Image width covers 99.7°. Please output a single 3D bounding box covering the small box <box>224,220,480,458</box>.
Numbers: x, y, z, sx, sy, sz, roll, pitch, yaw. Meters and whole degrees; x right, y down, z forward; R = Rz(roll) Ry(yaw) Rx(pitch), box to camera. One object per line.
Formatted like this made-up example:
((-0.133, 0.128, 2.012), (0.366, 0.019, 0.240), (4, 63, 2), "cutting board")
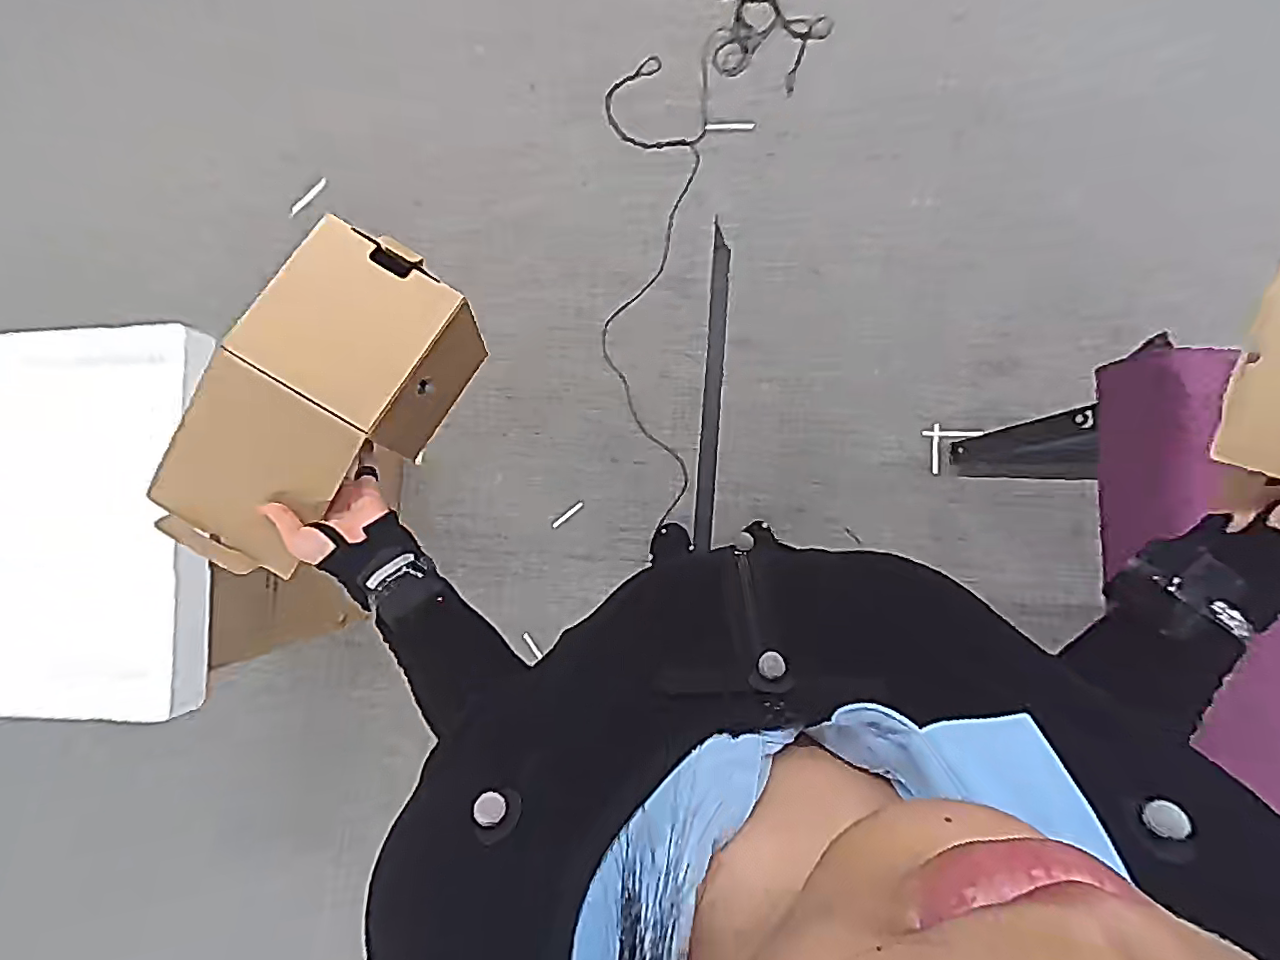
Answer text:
((-0.305, -0.144, 0.622), (0.168, 0.176, 0.179), (31, 79, -2), "small box")
